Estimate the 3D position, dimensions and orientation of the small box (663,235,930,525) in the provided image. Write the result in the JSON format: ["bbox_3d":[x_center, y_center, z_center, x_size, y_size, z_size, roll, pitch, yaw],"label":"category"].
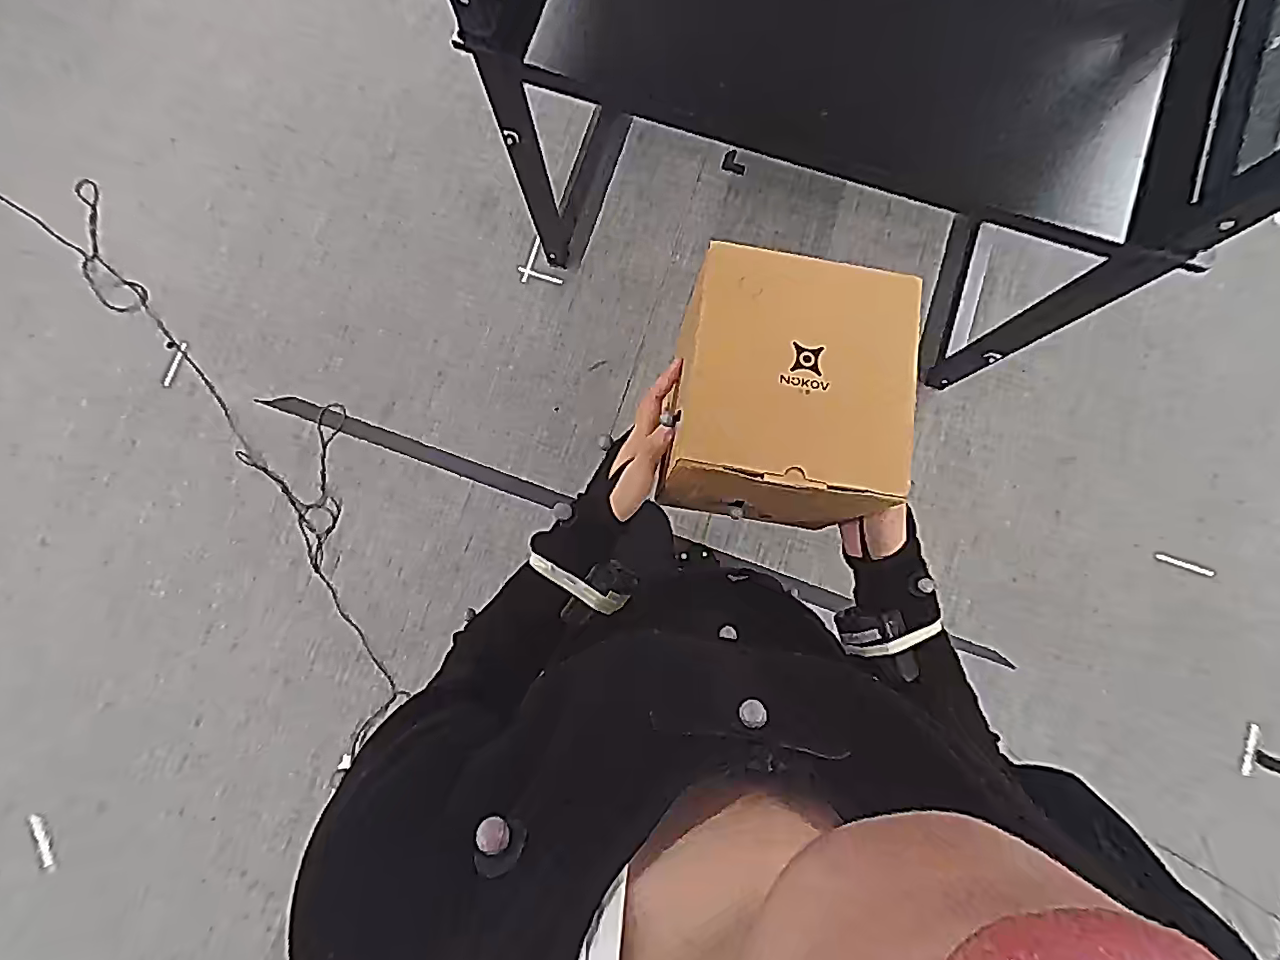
[{"bbox_3d":[0.117,-0.068,0.459,0.168,0.176,0.179,9,78,-2],"label":"small box"}]
